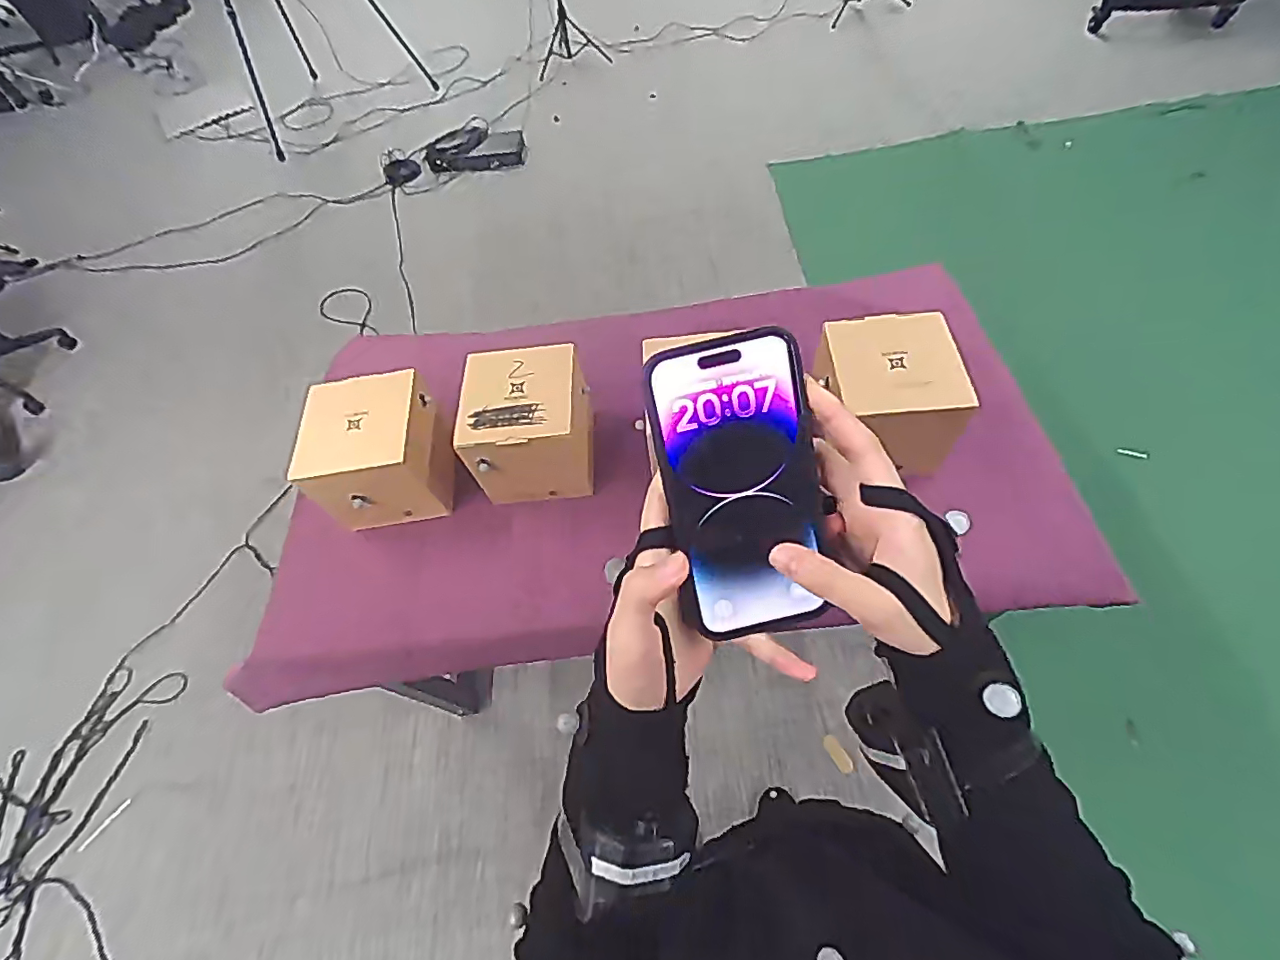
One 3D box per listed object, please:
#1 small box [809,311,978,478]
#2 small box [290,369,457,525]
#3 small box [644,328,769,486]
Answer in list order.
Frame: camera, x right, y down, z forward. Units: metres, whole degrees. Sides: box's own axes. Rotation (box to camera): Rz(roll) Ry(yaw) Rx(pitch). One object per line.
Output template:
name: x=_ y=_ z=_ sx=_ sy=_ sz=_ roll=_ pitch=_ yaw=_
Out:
small box: x=0.355 y=-0.122 z=0.799 sx=0.168 sy=0.176 sz=0.179 roll=-3 pitch=59 yaw=6
small box: x=-0.400 y=-0.042 z=0.847 sx=0.168 sy=0.176 sz=0.179 roll=-10 pitch=58 yaw=2
small box: x=0.096 y=-0.100 z=0.818 sx=0.168 sy=0.176 sz=0.179 roll=-4 pitch=58 yaw=4
